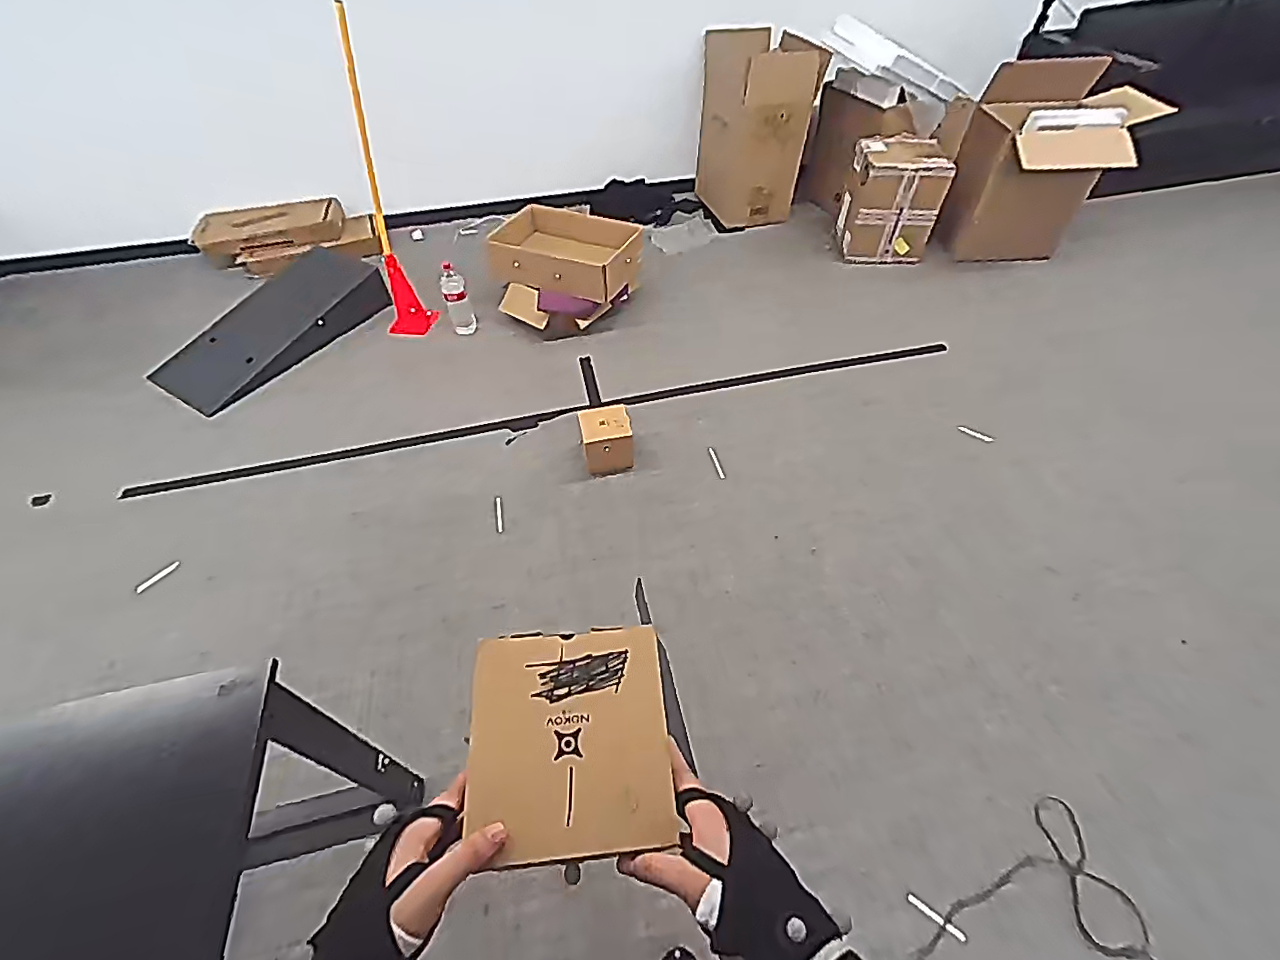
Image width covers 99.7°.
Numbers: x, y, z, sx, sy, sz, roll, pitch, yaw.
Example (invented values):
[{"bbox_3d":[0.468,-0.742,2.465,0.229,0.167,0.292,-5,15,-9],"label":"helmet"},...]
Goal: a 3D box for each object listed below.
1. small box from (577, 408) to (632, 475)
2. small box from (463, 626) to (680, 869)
[{"bbox_3d":[-0.128,-0.137,1.977,0.179,0.176,0.168,-10,51,-8],"label":"small box"},{"bbox_3d":[-0.061,0.257,0.516,0.168,0.176,0.179,-3,55,-5],"label":"small box"}]
